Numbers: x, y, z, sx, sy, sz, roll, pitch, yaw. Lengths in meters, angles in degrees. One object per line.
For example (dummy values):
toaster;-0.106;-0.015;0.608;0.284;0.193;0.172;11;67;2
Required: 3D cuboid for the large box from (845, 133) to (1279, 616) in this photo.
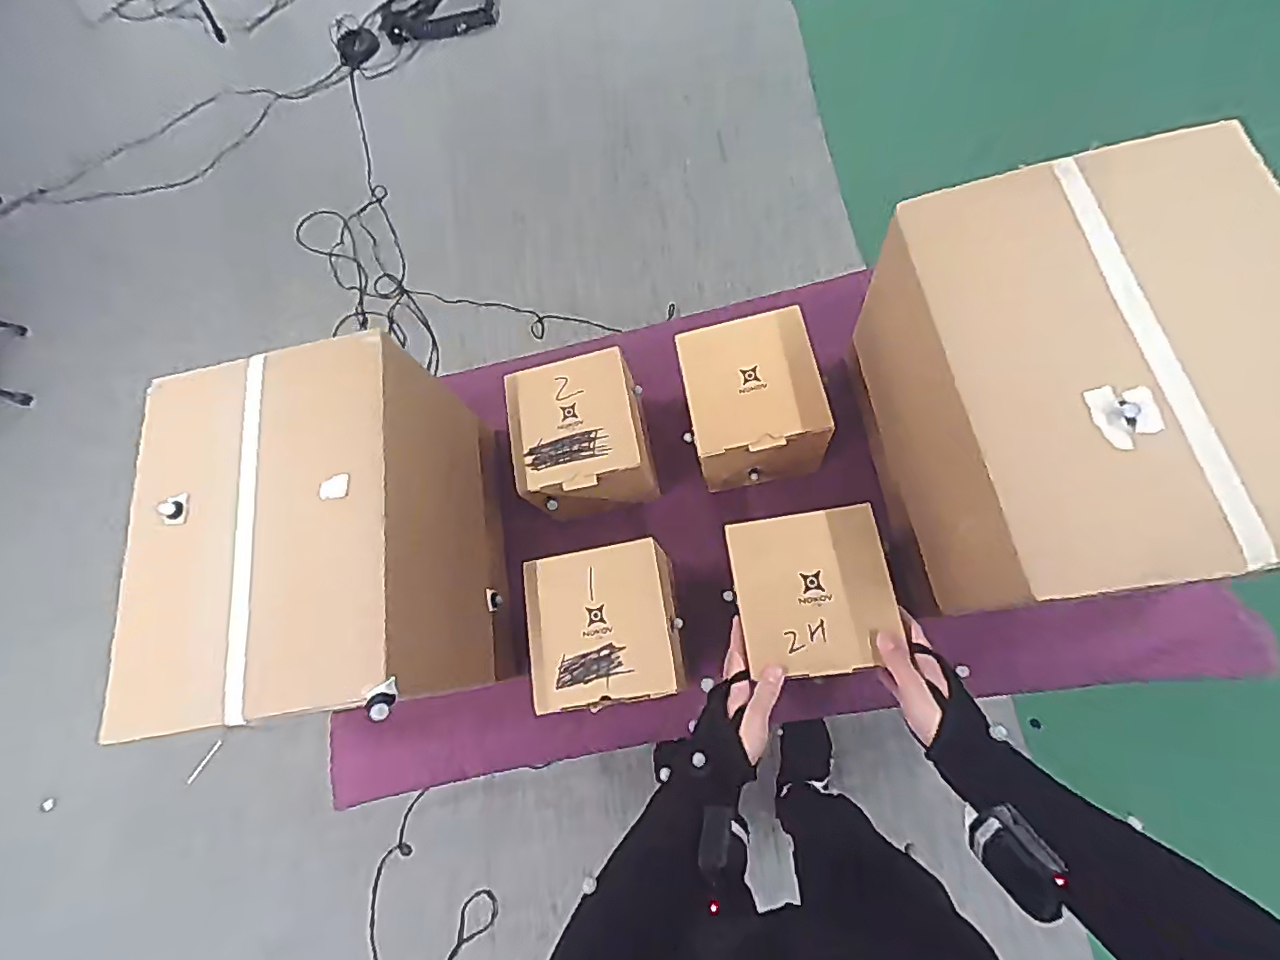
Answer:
large box;0.463;-0.077;0.610;0.320;0.320;0.408;-11;72;8
